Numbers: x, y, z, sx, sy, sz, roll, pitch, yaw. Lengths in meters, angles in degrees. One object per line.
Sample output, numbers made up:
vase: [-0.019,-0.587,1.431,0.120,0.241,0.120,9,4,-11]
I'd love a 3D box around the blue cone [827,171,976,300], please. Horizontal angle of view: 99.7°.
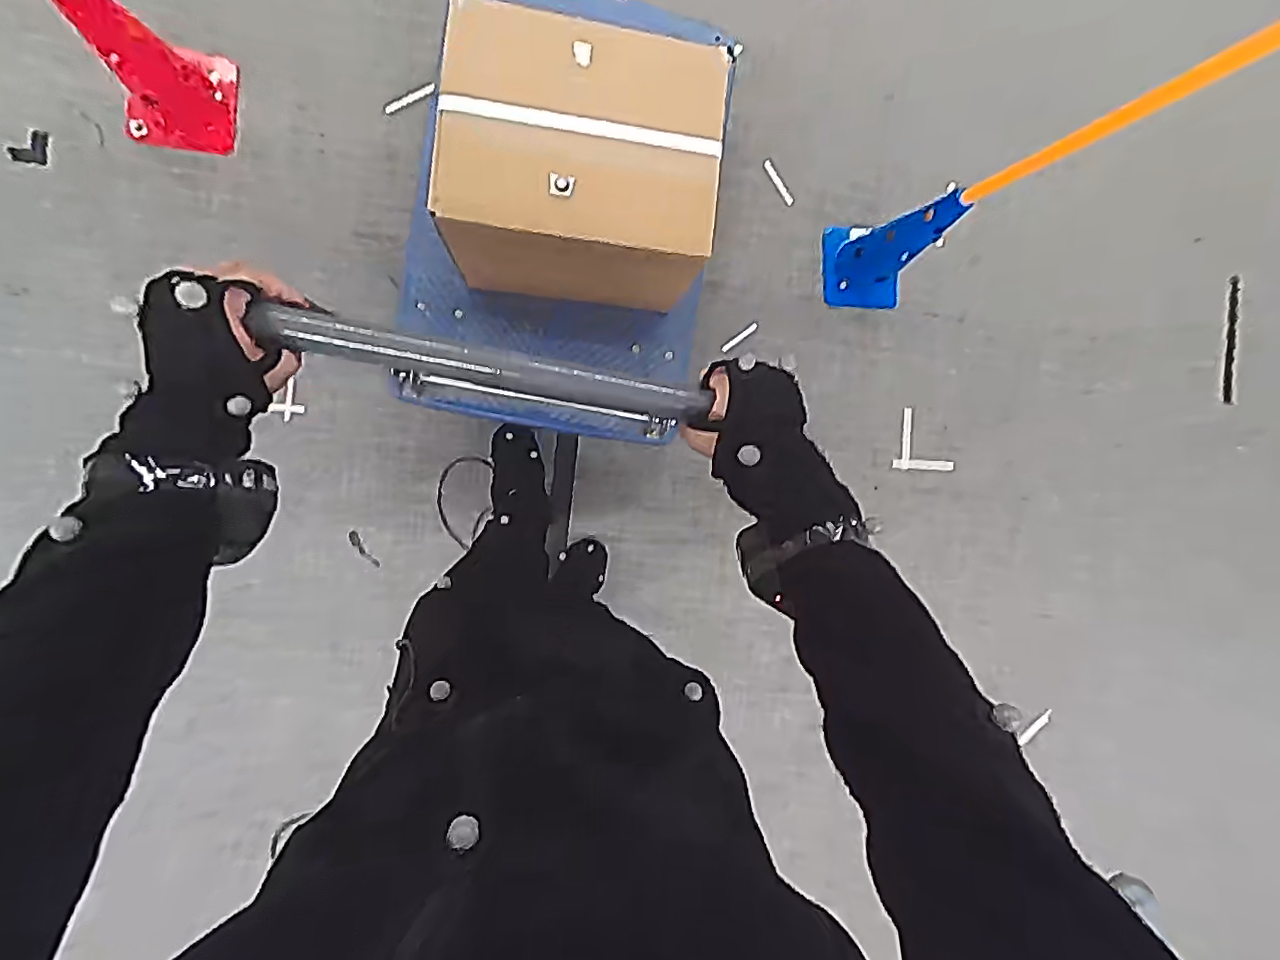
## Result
blue cone: [0.584,-0.548,1.192,0.193,0.380,0.192,1,90,-9]
